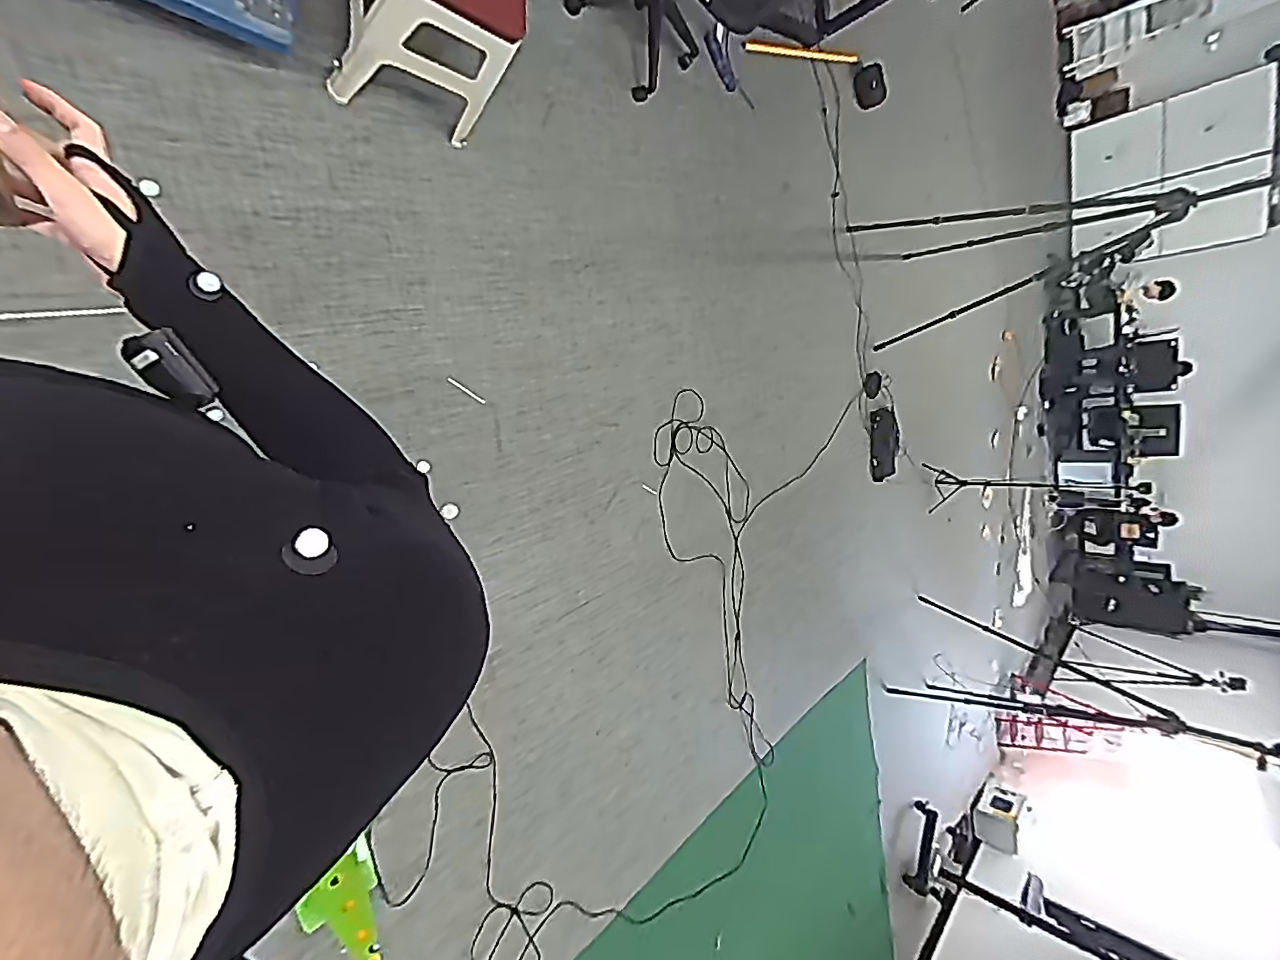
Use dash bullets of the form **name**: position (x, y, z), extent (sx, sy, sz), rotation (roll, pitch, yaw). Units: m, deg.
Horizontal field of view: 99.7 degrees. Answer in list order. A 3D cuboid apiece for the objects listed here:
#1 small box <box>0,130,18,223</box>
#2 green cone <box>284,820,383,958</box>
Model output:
- **small box**: position (-0.528, -0.276, 0.326), extent (0.168, 0.176, 0.179), rotation (-15, 105, -41)
- **green cone**: position (-0.759, 1.114, 1.412), extent (0.202, 0.368, 0.200), rotation (-22, 108, -41)
